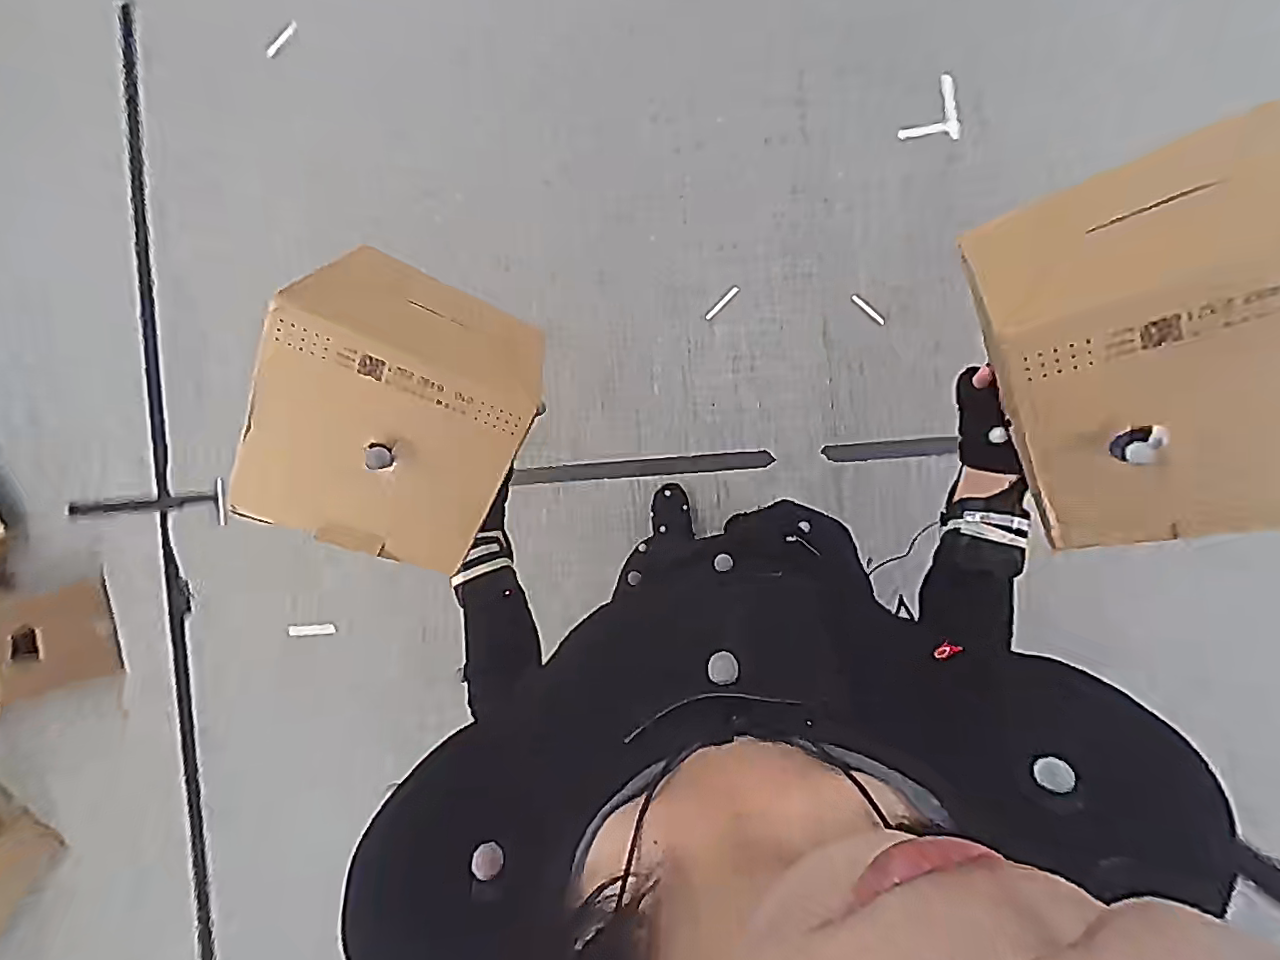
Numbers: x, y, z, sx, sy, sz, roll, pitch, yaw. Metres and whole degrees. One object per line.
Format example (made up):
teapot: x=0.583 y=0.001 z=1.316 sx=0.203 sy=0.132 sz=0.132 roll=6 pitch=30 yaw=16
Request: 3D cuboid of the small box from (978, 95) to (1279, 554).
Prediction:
small box: x=0.314 y=-0.086 z=0.313 sx=0.168 sy=0.179 sz=0.176 roll=-14 pitch=122 yaw=33

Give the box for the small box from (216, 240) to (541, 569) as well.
small box: x=-0.186 y=-0.066 z=0.426 sx=0.168 sy=0.179 sz=0.176 roll=23 pitch=114 yaw=-20
